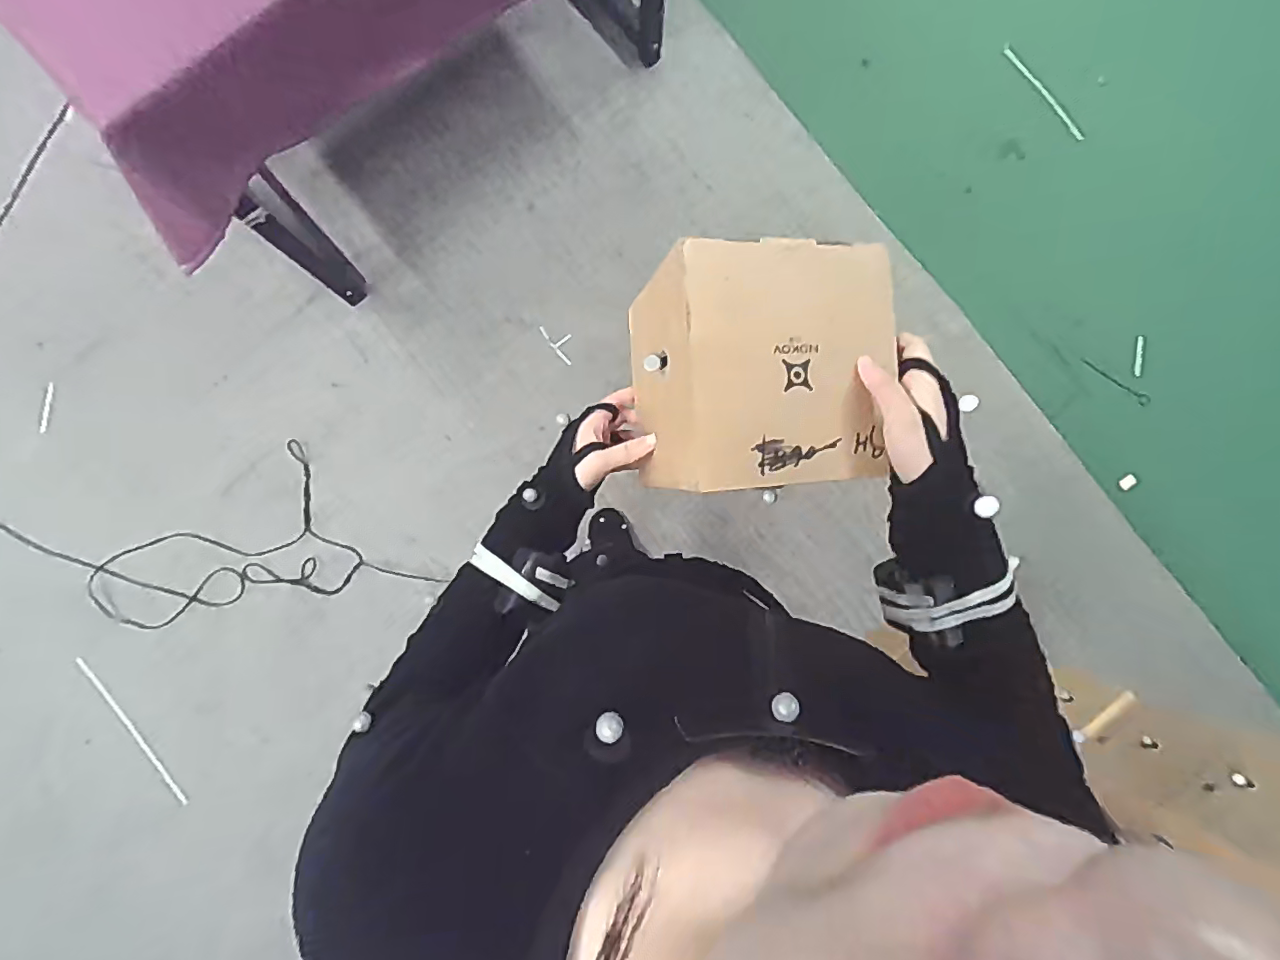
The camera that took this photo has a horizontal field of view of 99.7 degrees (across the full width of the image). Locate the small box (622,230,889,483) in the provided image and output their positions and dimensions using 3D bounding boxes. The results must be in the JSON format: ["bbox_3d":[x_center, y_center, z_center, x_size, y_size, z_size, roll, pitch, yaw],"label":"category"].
[{"bbox_3d":[0.084,-0.092,0.466,0.168,0.176,0.179,-6,93,-14],"label":"small box"}]
